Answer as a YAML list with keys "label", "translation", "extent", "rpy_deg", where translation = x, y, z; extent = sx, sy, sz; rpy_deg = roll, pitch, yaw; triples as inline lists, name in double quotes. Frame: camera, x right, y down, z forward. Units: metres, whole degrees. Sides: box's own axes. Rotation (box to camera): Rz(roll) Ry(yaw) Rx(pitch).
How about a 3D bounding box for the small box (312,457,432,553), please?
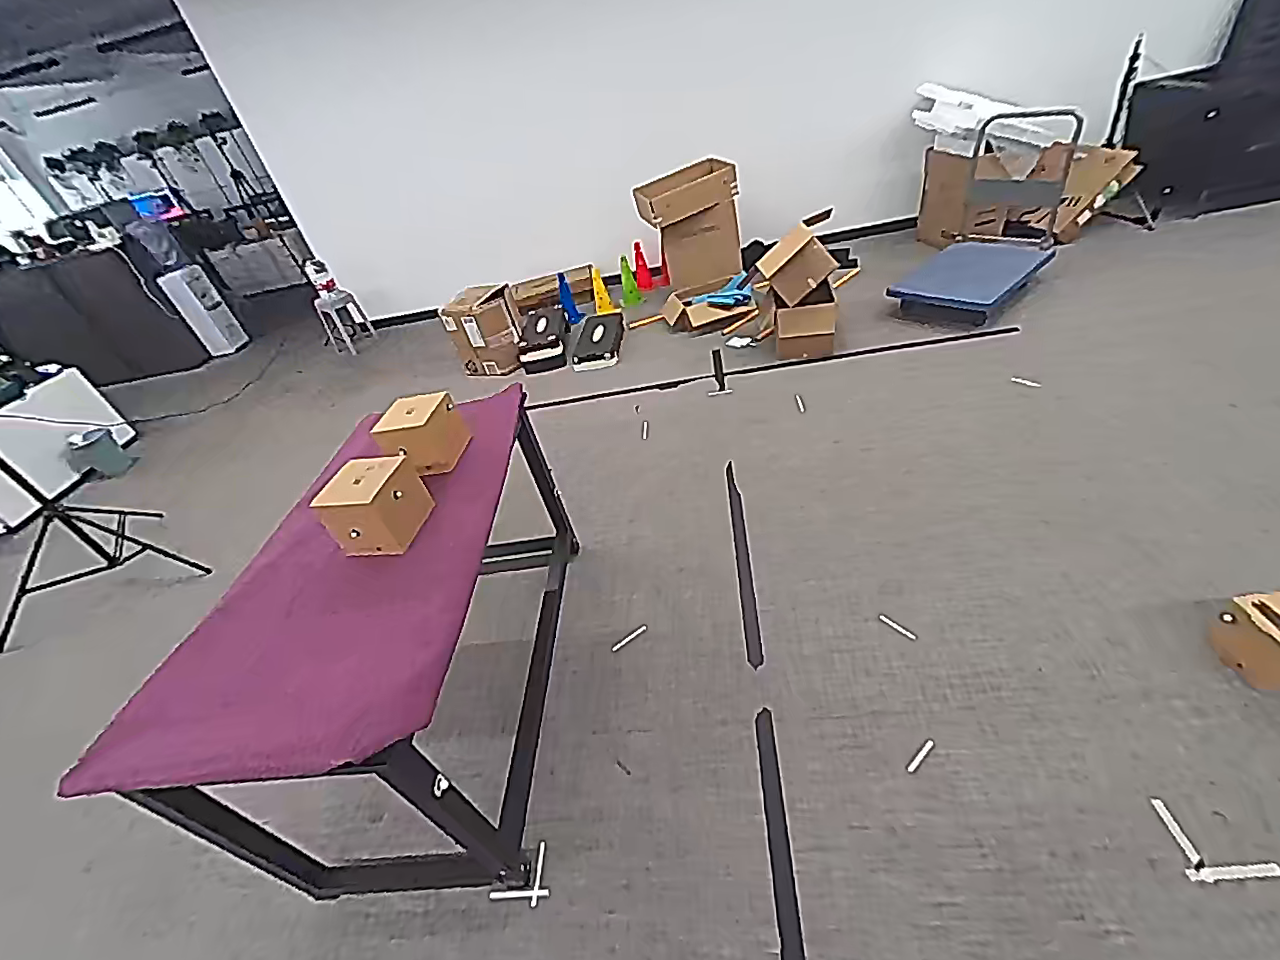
- label: "small box"
  translation: [-0.638, 0.065, 1.315]
  extent: [0.168, 0.176, 0.179]
  rpy_deg: [-3, 39, 14]

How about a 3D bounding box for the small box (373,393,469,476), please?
- label: "small box"
  translation: [-0.616, -0.124, 1.547]
  extent: [0.168, 0.176, 0.179]
  rpy_deg: [-7, 38, 12]
